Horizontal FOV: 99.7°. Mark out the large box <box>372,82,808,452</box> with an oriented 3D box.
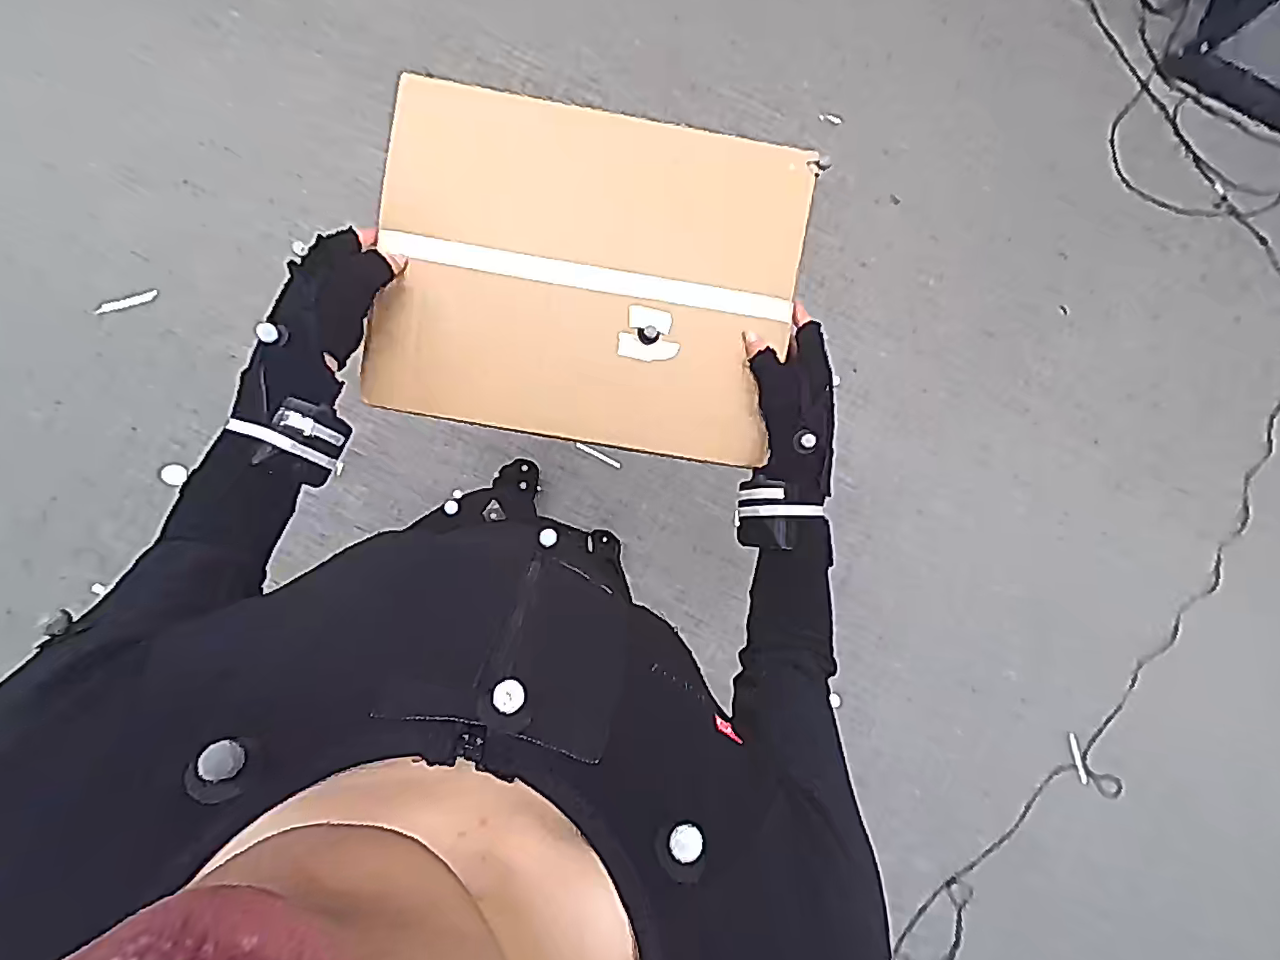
[{"bbox_3d":[-0.057,-0.212,0.679,0.408,0.320,0.320,8,94,-3],"label":"large box"}]
